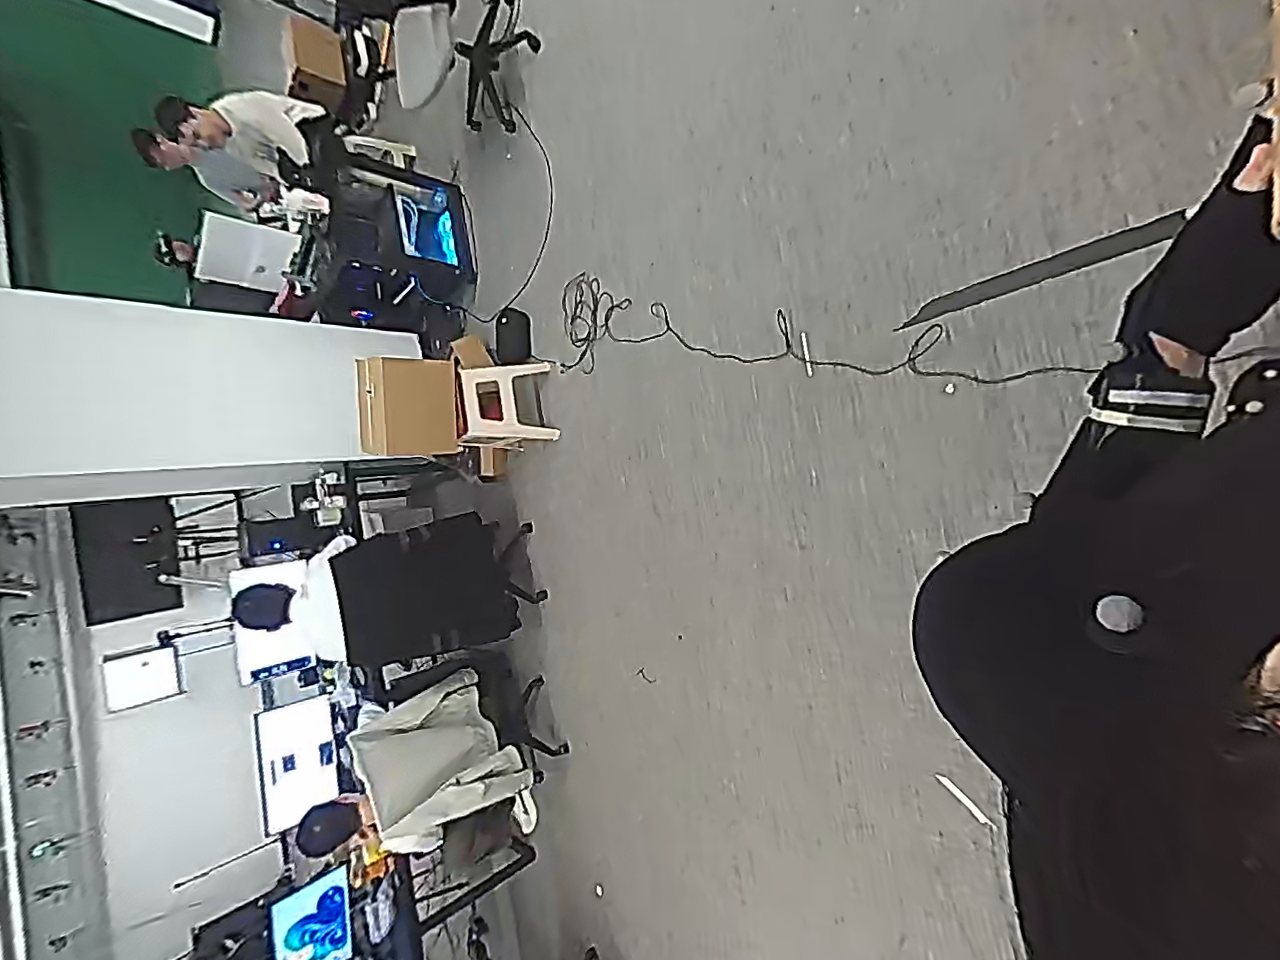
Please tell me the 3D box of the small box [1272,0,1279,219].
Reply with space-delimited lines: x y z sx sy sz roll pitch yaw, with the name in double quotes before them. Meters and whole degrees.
"small box" 0.381 -0.221 0.213 0.168 0.176 0.179 0 105 51
